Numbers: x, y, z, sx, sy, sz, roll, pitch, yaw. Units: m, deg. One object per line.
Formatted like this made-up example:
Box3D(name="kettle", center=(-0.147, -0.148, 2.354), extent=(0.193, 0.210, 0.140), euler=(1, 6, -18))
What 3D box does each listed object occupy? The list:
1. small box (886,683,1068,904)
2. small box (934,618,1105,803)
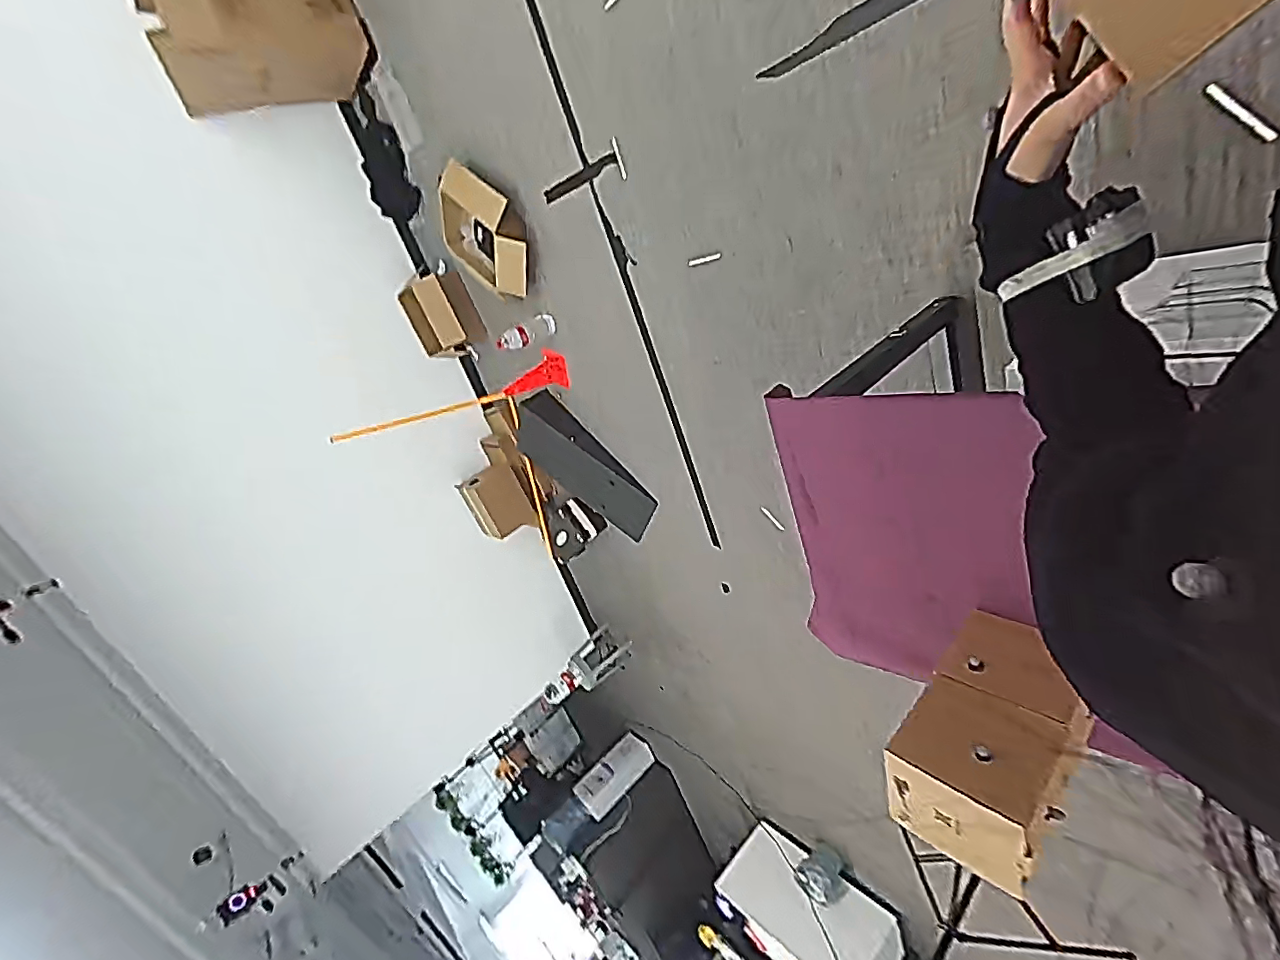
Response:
Box3D(name="small box", center=(0.474, 0.425, 0.764), extent=(0.179, 0.176, 0.168), euler=(14, 129, 47))
Box3D(name="small box", center=(0.590, 0.345, 0.848), extent=(0.179, 0.176, 0.168), euler=(13, 129, 48))
